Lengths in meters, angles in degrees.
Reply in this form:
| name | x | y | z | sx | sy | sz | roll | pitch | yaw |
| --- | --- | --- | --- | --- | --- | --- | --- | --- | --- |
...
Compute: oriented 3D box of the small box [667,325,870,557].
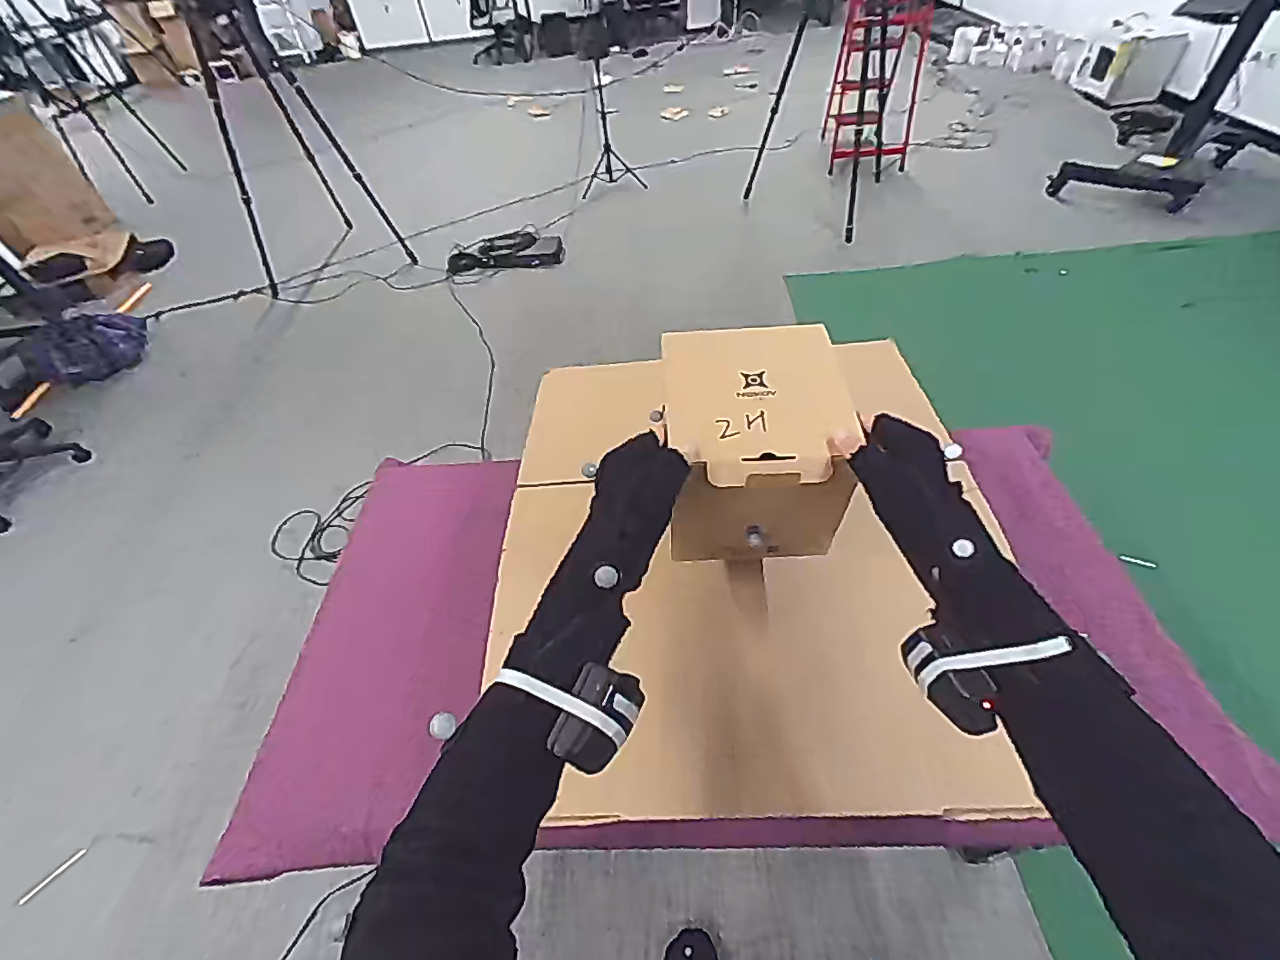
| name | x | y | z | sx | sy | sz | roll | pitch | yaw |
| --- | --- | --- | --- | --- | --- | --- | --- | --- | --- |
| small box | 0.112 | -0.038 | 0.561 | 0.168 | 0.176 | 0.179 | -2 | 53 | 2 |
